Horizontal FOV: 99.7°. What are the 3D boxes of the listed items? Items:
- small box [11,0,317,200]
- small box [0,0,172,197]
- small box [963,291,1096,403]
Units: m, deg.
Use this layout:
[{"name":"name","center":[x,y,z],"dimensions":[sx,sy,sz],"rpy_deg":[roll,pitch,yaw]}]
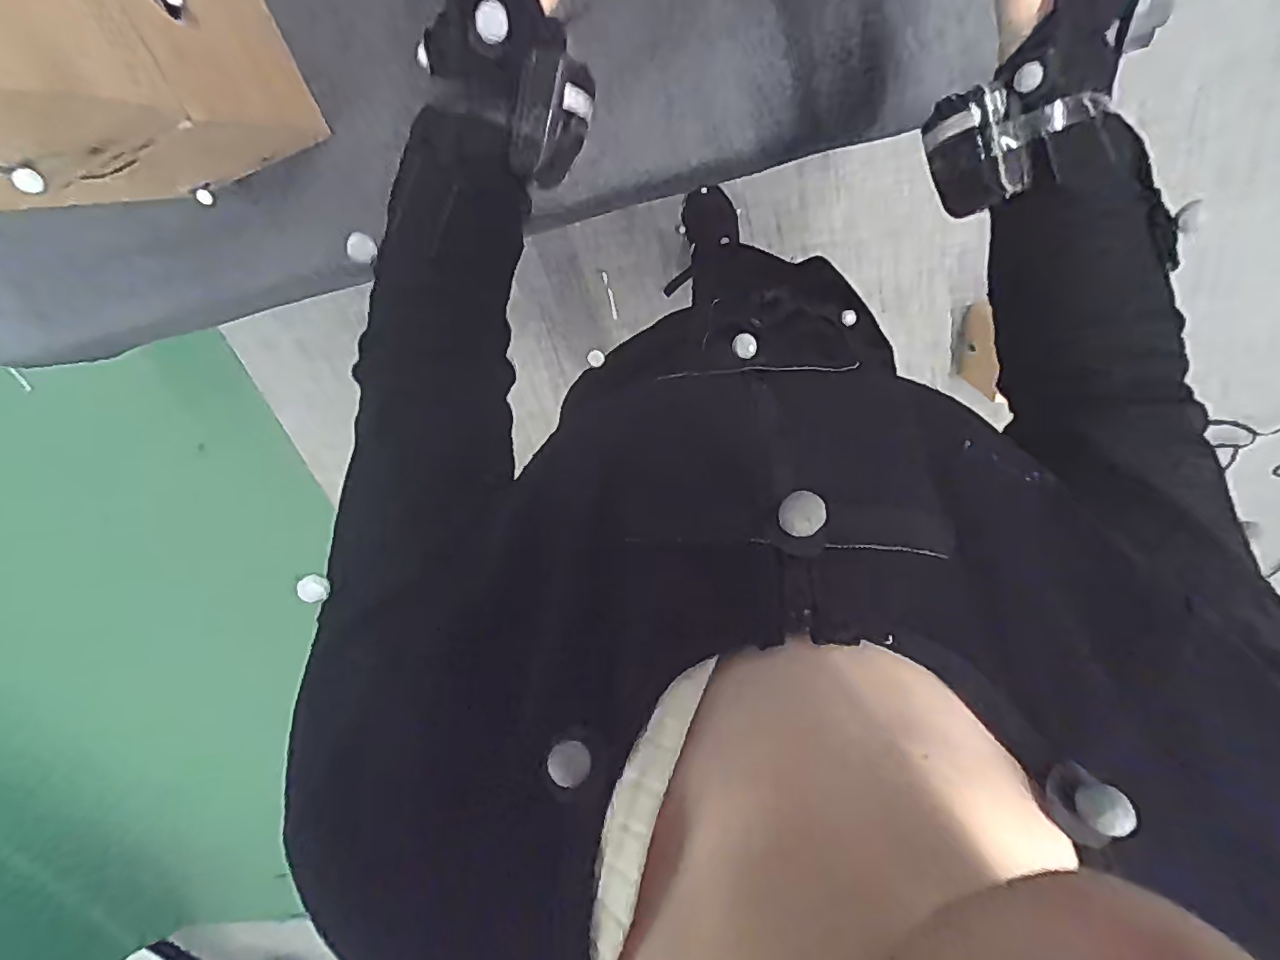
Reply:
[{"name":"small box","center":[-0.391,-0.331,0.402],"dimensions":[0.168,0.176,0.179],"rpy_deg":[-14,117,12]},{"name":"small box","center":[-0.404,-0.250,0.259],"dimensions":[0.168,0.176,0.179],"rpy_deg":[-15,118,14]},{"name":"small box","center":[0.821,-0.288,1.164],"dimensions":[0.168,0.176,0.179],"rpy_deg":[-7,121,9]}]
